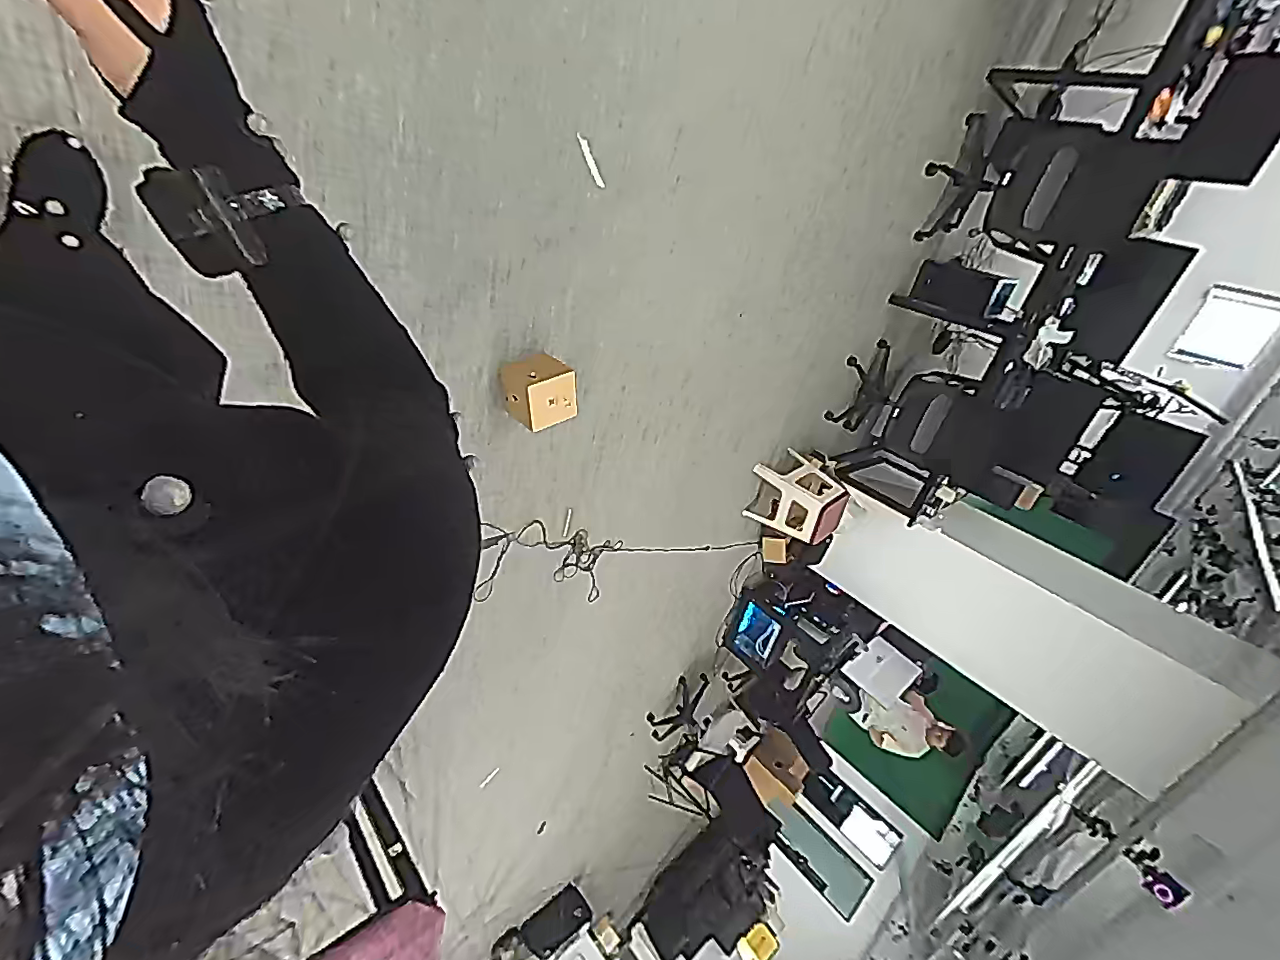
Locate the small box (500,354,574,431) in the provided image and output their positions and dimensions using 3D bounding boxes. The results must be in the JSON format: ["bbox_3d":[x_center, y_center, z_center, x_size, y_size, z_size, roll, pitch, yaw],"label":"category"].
[{"bbox_3d":[-0.333,-0.285,1.737,0.179,0.176,0.168,-28,137,-33],"label":"small box"}]
